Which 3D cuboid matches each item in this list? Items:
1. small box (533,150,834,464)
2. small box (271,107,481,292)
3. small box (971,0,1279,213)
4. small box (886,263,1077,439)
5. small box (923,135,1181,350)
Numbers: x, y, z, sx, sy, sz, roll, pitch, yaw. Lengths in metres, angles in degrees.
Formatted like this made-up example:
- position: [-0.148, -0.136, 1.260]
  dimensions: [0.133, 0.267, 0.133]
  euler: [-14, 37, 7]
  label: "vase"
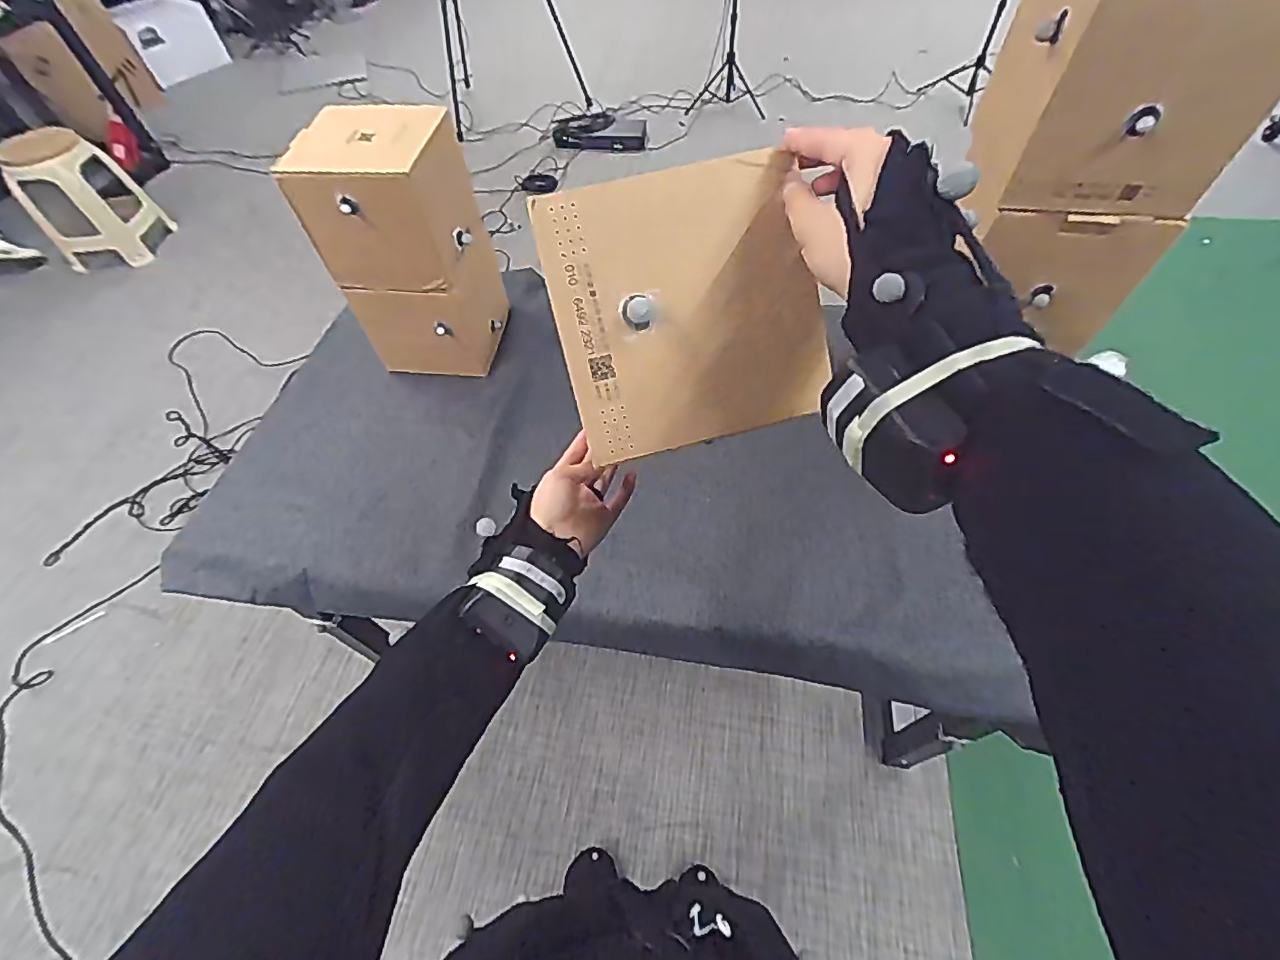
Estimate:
- position: [0.021, -0.118, 0.416]
  dimensions: [0.176, 0.168, 0.179]
  euler: [-14, 12, -3]
  label: "small box"
- position: [-0.341, -0.378, 0.740]
  dimensions: [0.179, 0.176, 0.168]
  euler: [4, 58, 4]
  label: "small box"
- position: [0.430, -0.366, 0.487]
  dimensions: [0.168, 0.176, 0.179]
  euler: [7, 57, 8]
  label: "small box"
- position: [0.457, -0.185, 0.761]
  dimensions: [0.168, 0.176, 0.179]
  euler: [8, 57, 9]
  label: "small box"
- position: [0.445, -0.272, 0.623]
  dimensions: [0.168, 0.176, 0.179]
  euler: [9, 58, 9]
  label: "small box"
